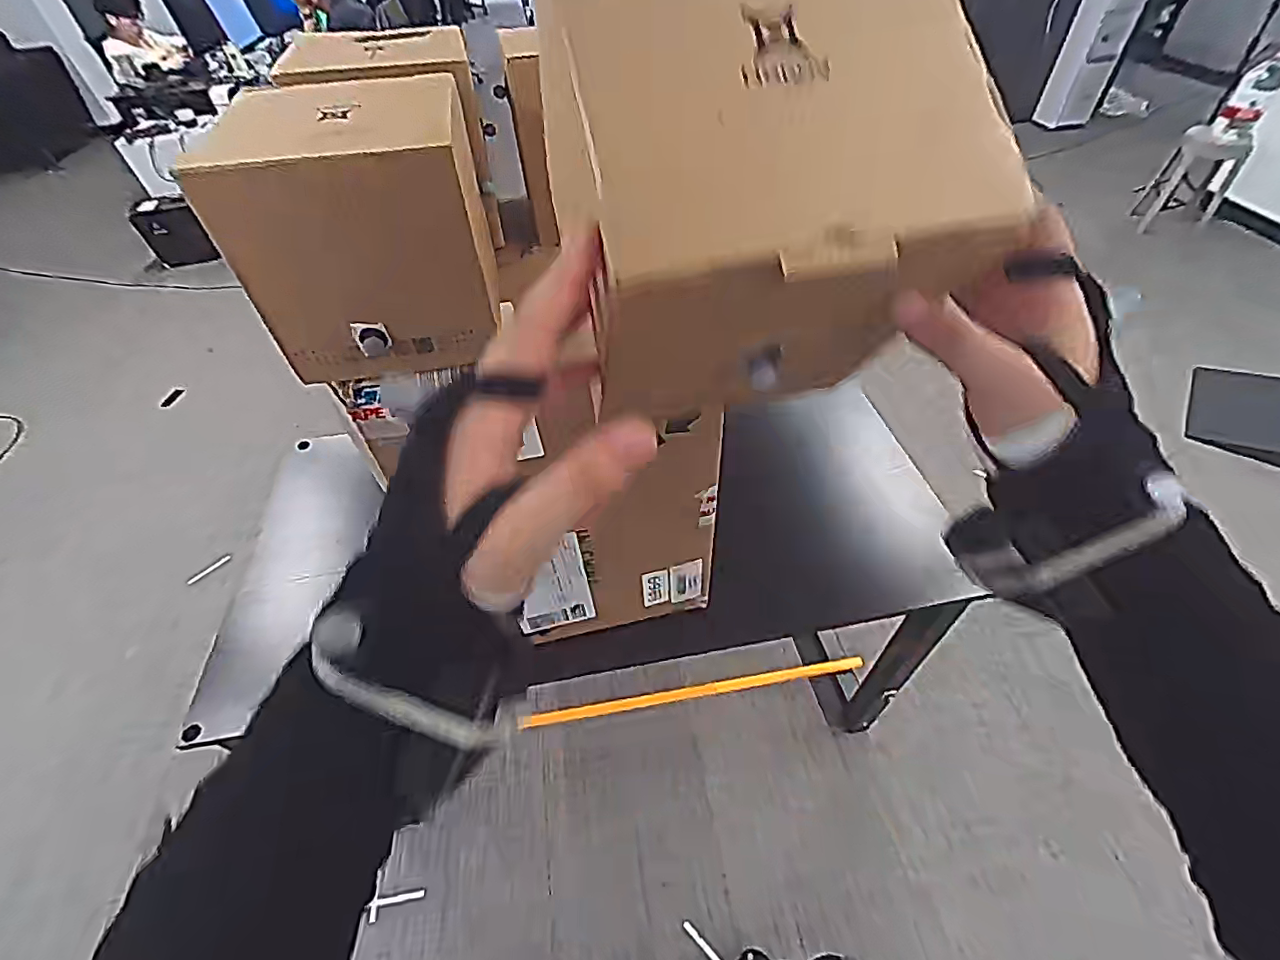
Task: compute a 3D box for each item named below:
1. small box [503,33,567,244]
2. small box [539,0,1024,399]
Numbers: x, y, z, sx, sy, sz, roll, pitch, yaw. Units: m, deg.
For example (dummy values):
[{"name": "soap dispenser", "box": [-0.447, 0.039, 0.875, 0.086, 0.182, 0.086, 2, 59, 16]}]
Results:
[{"name": "small box", "box": [-0.051, -0.385, 0.604, 0.168, 0.176, 0.179, -12, 47, -7]}, {"name": "small box", "box": [0.045, -0.153, 0.290, 0.168, 0.176, 0.179, -11, 80, -8]}]
